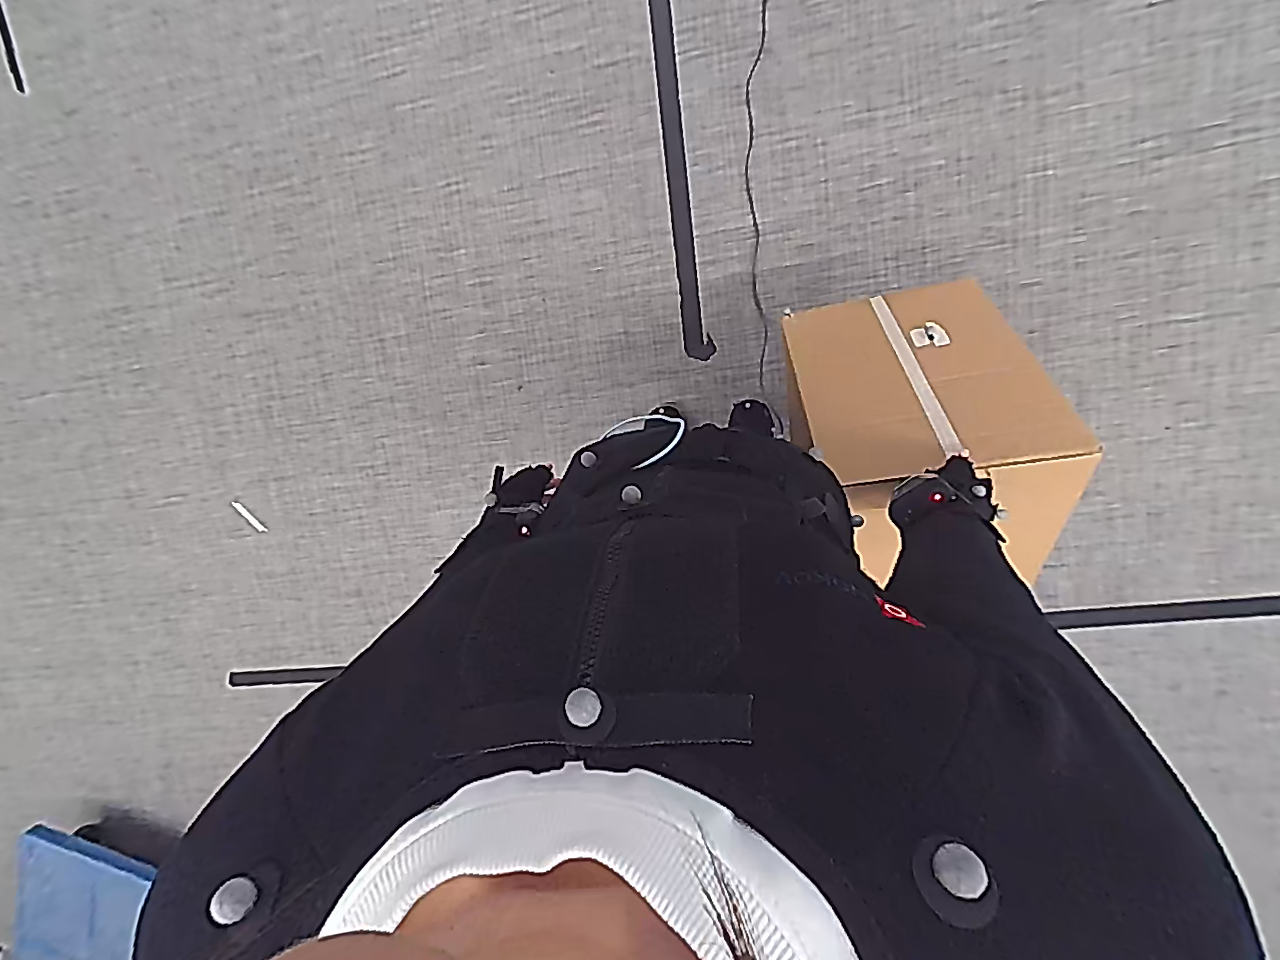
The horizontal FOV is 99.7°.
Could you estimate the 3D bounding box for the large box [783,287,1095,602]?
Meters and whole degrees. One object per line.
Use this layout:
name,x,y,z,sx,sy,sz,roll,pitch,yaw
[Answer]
large box,0.438,-0.058,0.909,0.320,0.408,0.320,-8,136,11
